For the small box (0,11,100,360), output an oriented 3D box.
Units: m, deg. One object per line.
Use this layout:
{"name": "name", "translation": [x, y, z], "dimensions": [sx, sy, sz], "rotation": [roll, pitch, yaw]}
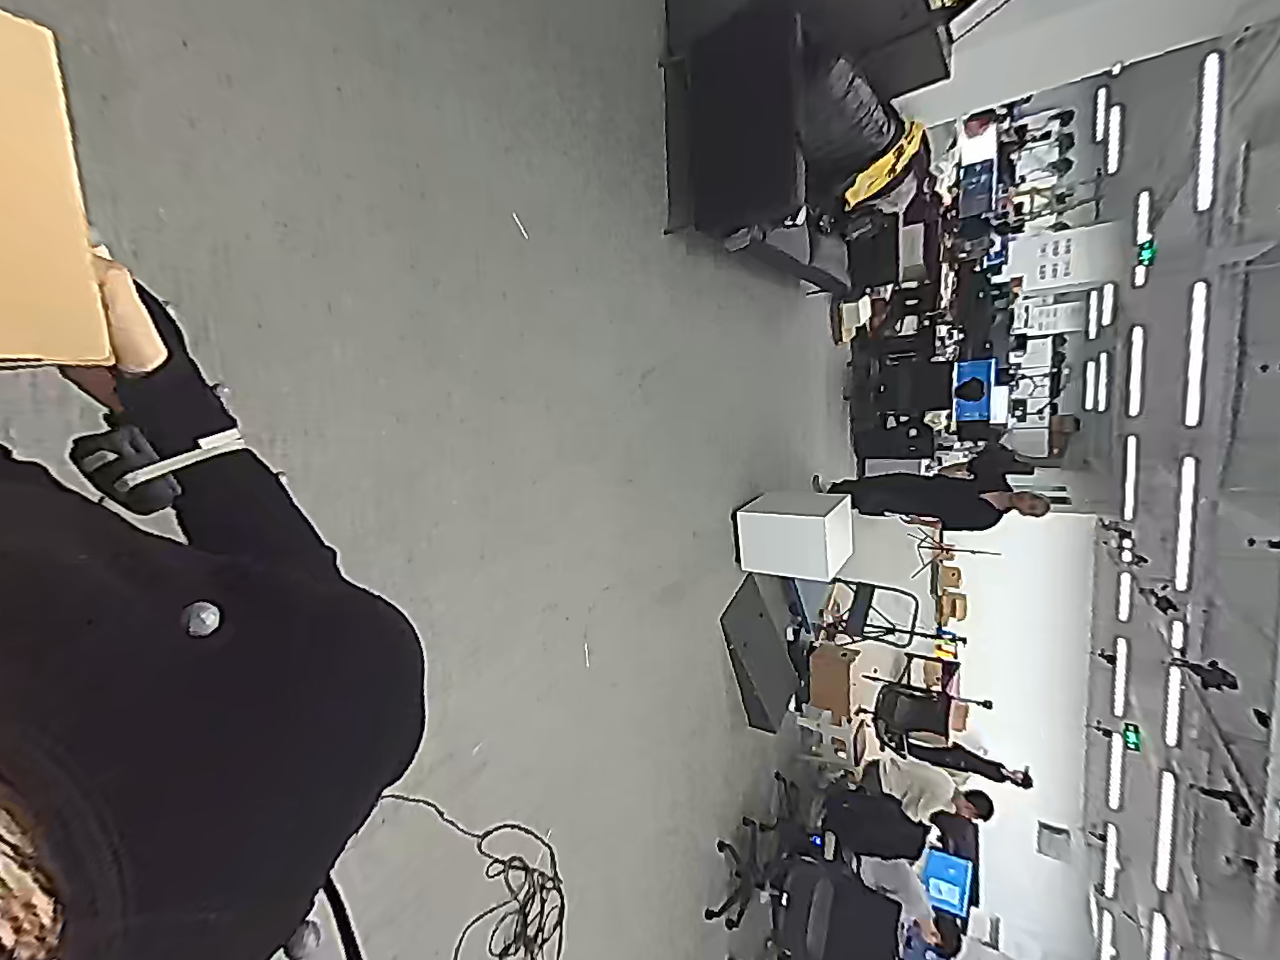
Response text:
{"name": "small box", "translation": [-0.429, -0.152, 0.269], "dimensions": [0.168, 0.176, 0.179], "rotation": [-22, 117, -61]}
